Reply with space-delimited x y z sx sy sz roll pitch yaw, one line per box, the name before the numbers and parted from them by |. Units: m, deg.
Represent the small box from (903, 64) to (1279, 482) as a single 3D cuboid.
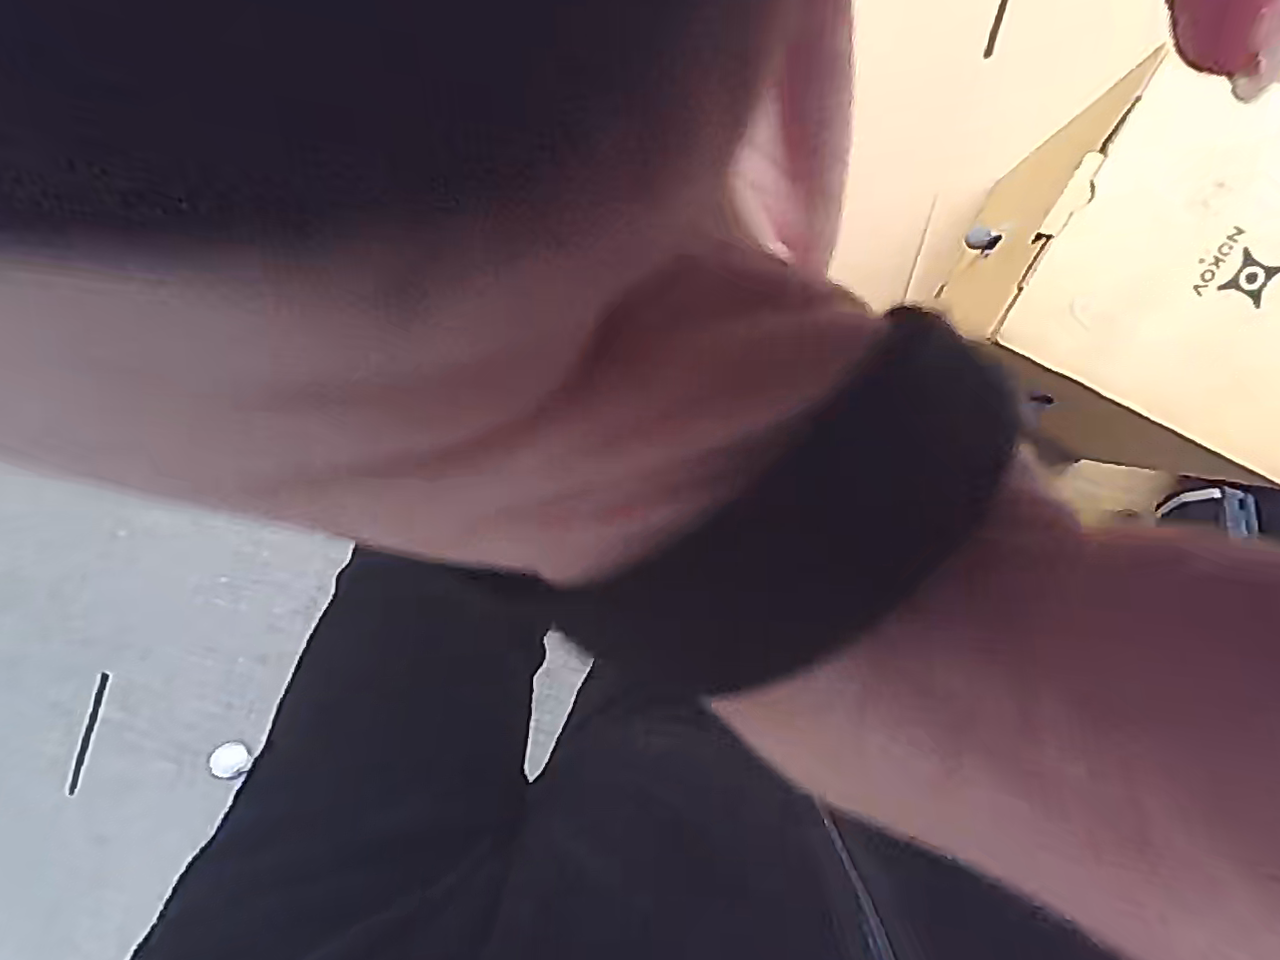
small box | 0.315 -0.116 0.365 0.179 0.176 0.168 29 100 5
